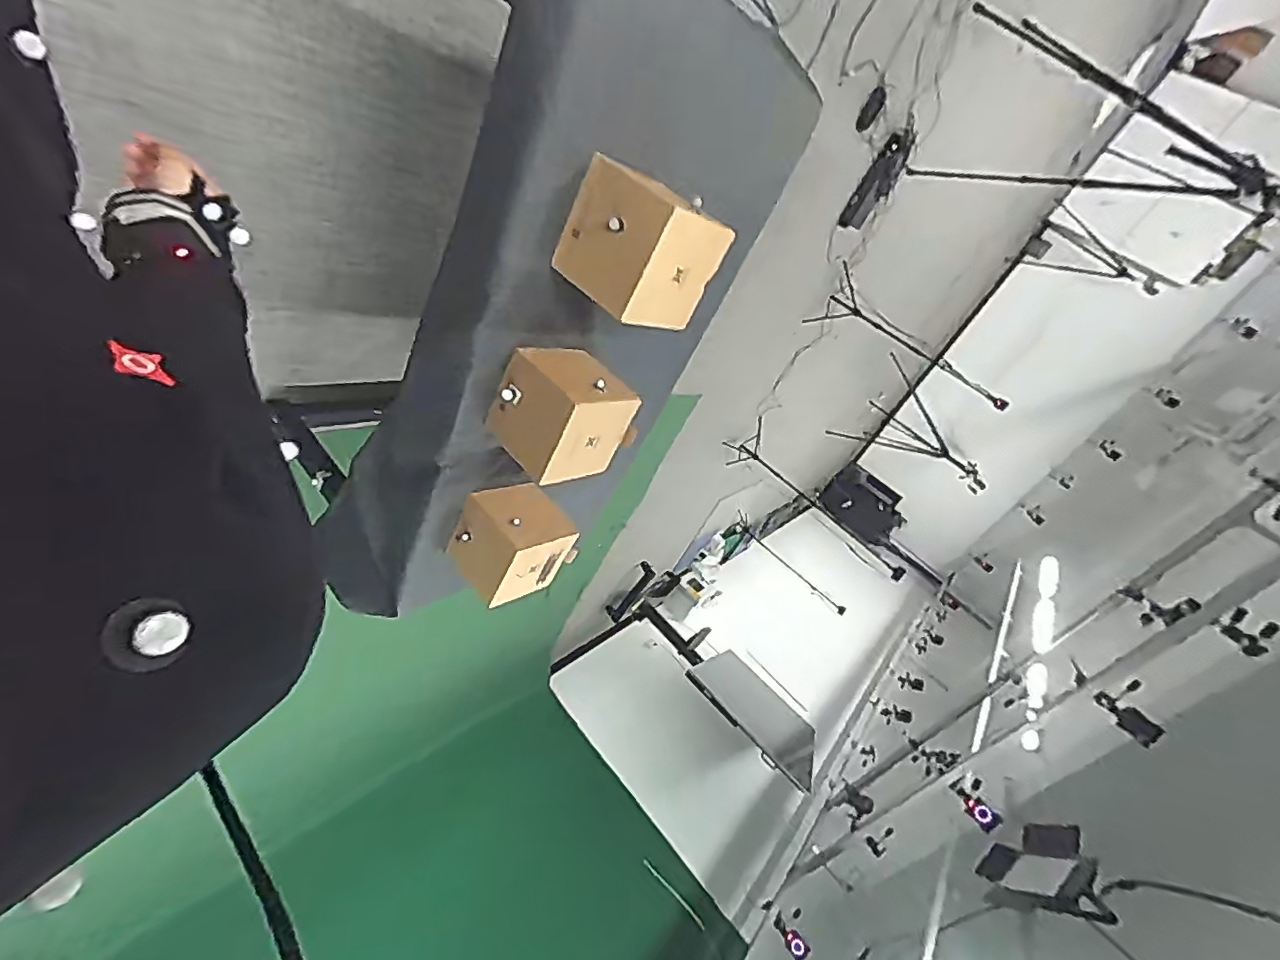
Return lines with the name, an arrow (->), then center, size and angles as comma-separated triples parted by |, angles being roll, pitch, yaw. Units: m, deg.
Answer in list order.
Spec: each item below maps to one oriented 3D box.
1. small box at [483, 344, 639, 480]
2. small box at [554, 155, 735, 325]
small box -> -0.140, -0.125, 0.952 | 0.179, 0.176, 0.168 | -15, 142, -52
small box -> 0.002, -0.354, 0.810 | 0.179, 0.176, 0.168 | -17, 144, -54
